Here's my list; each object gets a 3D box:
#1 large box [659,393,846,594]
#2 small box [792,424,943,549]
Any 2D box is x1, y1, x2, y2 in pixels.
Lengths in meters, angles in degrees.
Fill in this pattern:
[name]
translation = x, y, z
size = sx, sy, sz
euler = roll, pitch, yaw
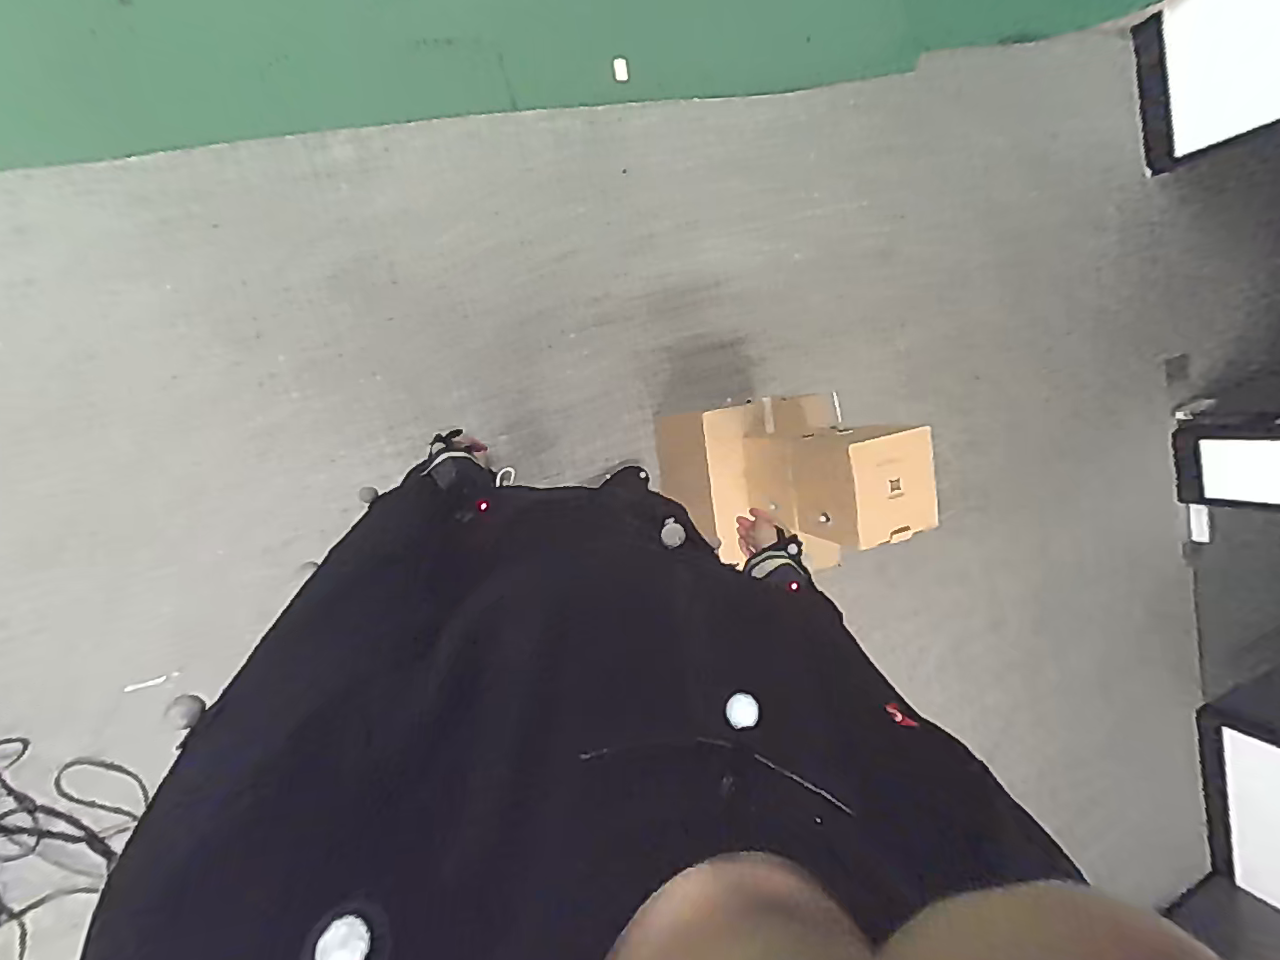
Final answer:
[large box]
translation = 0.261, 0.012, 1.326
size = 0.320, 0.320, 0.408
euler = -11, 99, -15
[small box]
translation = 0.387, 0.002, 0.936
size = 0.168, 0.176, 0.179
euler = -14, 99, -17
